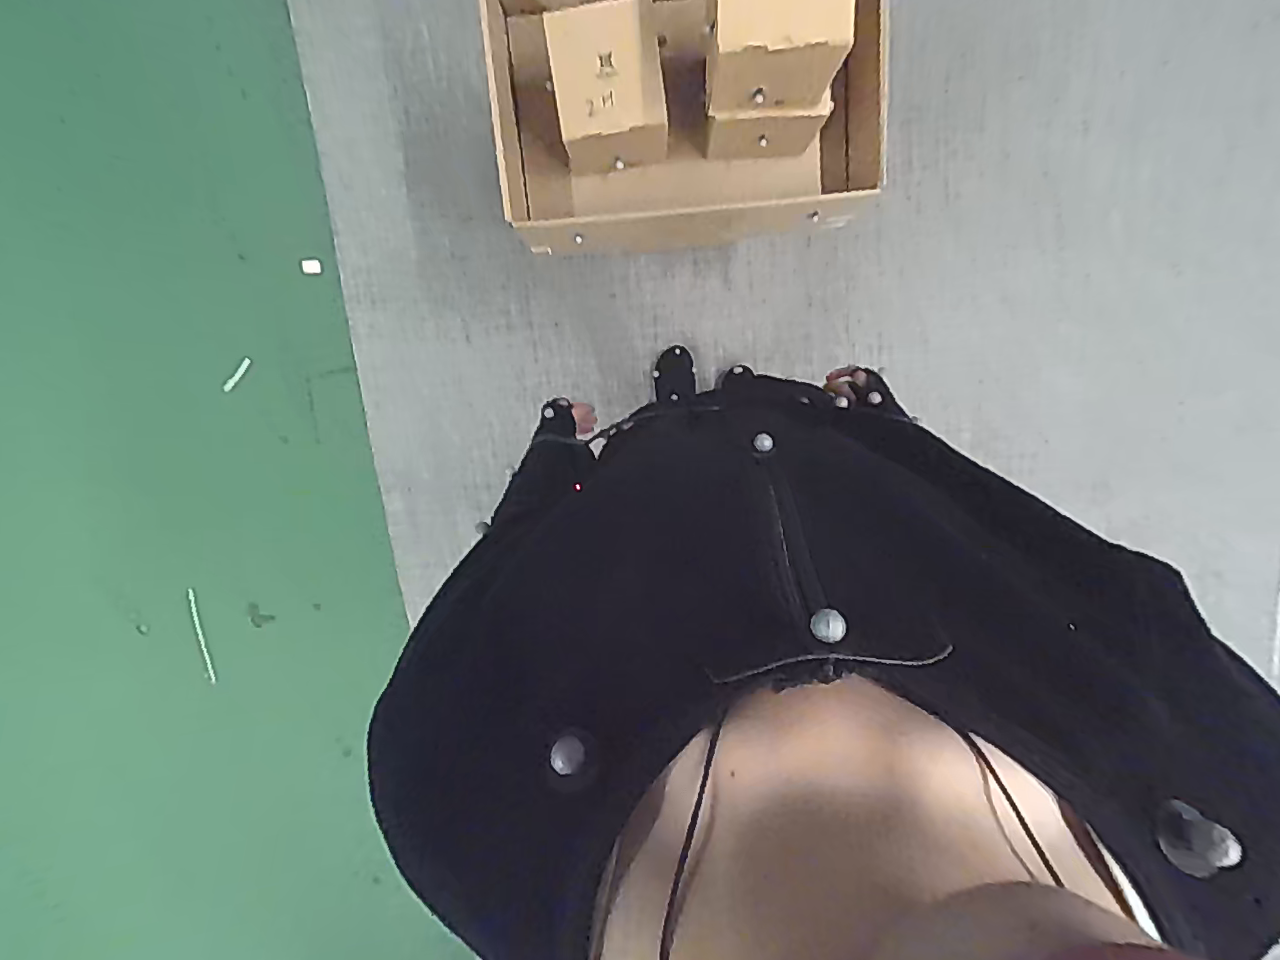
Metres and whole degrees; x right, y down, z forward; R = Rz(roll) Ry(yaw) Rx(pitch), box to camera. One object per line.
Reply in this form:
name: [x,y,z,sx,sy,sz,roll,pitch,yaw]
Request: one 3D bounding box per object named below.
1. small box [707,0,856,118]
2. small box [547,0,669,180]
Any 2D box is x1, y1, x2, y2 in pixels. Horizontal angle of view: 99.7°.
small box: [0.178,-0.620,0.720,0.168,0.176,0.179,-1,100,3]
small box: [-0.047,-0.626,0.891,0.168,0.176,0.179,-8,100,3]
